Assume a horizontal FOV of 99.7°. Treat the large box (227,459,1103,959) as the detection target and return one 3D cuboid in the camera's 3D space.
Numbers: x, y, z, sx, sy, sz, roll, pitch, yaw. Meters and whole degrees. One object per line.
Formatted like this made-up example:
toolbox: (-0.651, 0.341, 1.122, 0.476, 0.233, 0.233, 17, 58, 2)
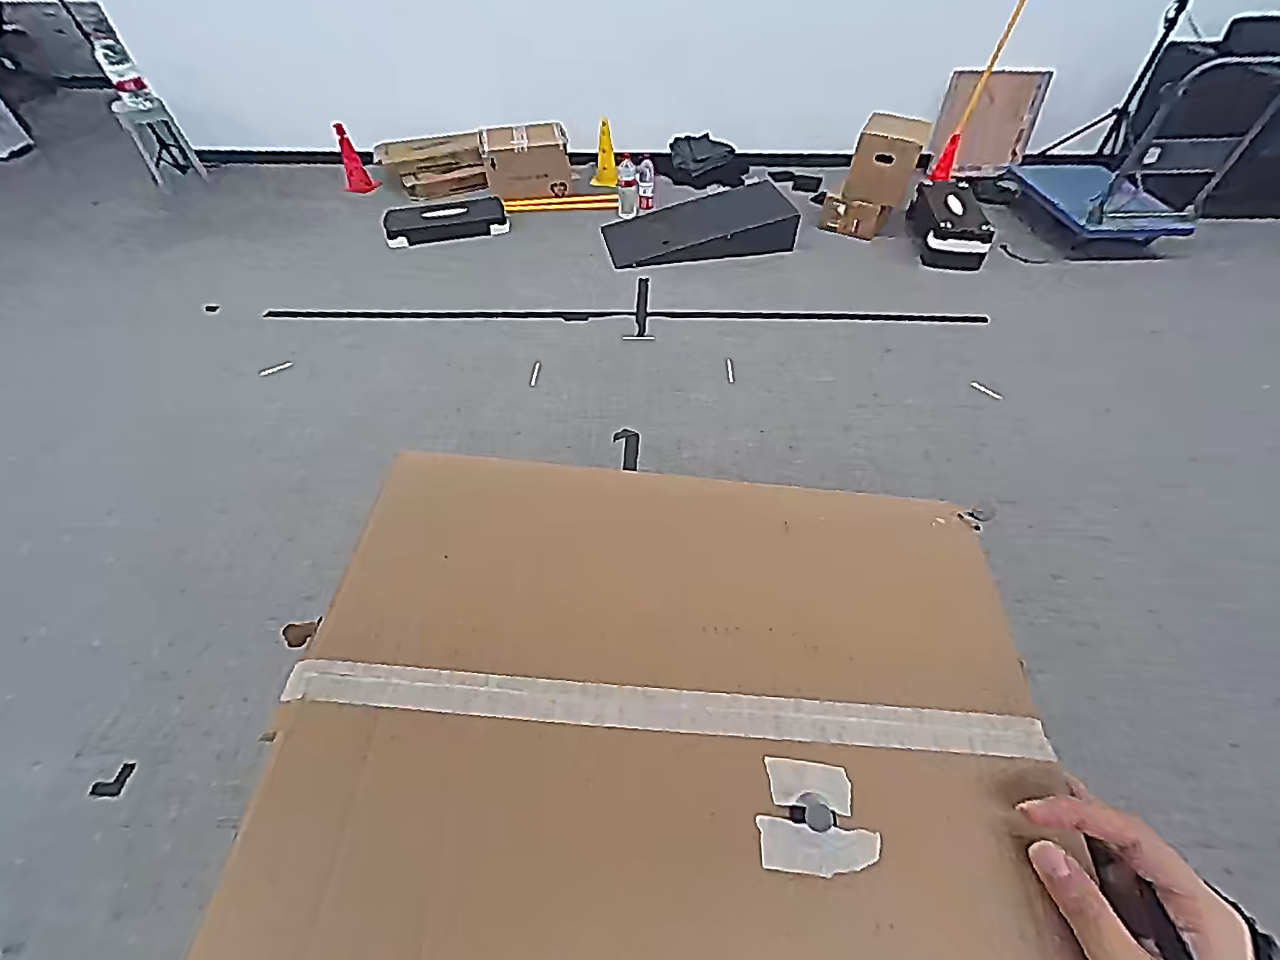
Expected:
large box: (0.013, 0.211, 0.427, 0.408, 0.320, 0.320, 6, 56, -2)
